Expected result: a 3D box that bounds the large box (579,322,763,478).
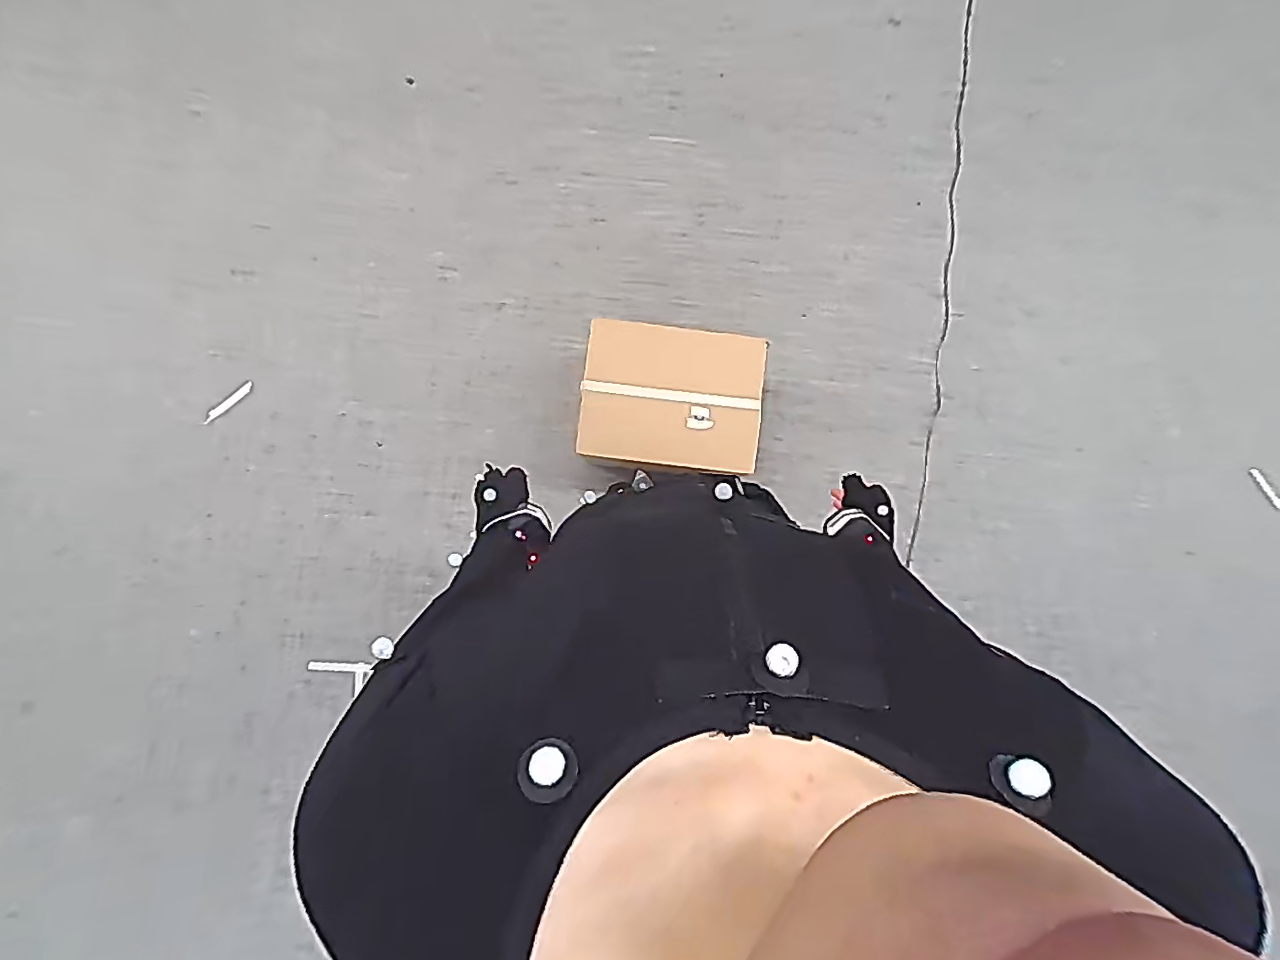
[{"bbox_3d":[0.066,-0.181,1.372,0.408,0.320,0.320,6,87,-2],"label":"large box"}]
